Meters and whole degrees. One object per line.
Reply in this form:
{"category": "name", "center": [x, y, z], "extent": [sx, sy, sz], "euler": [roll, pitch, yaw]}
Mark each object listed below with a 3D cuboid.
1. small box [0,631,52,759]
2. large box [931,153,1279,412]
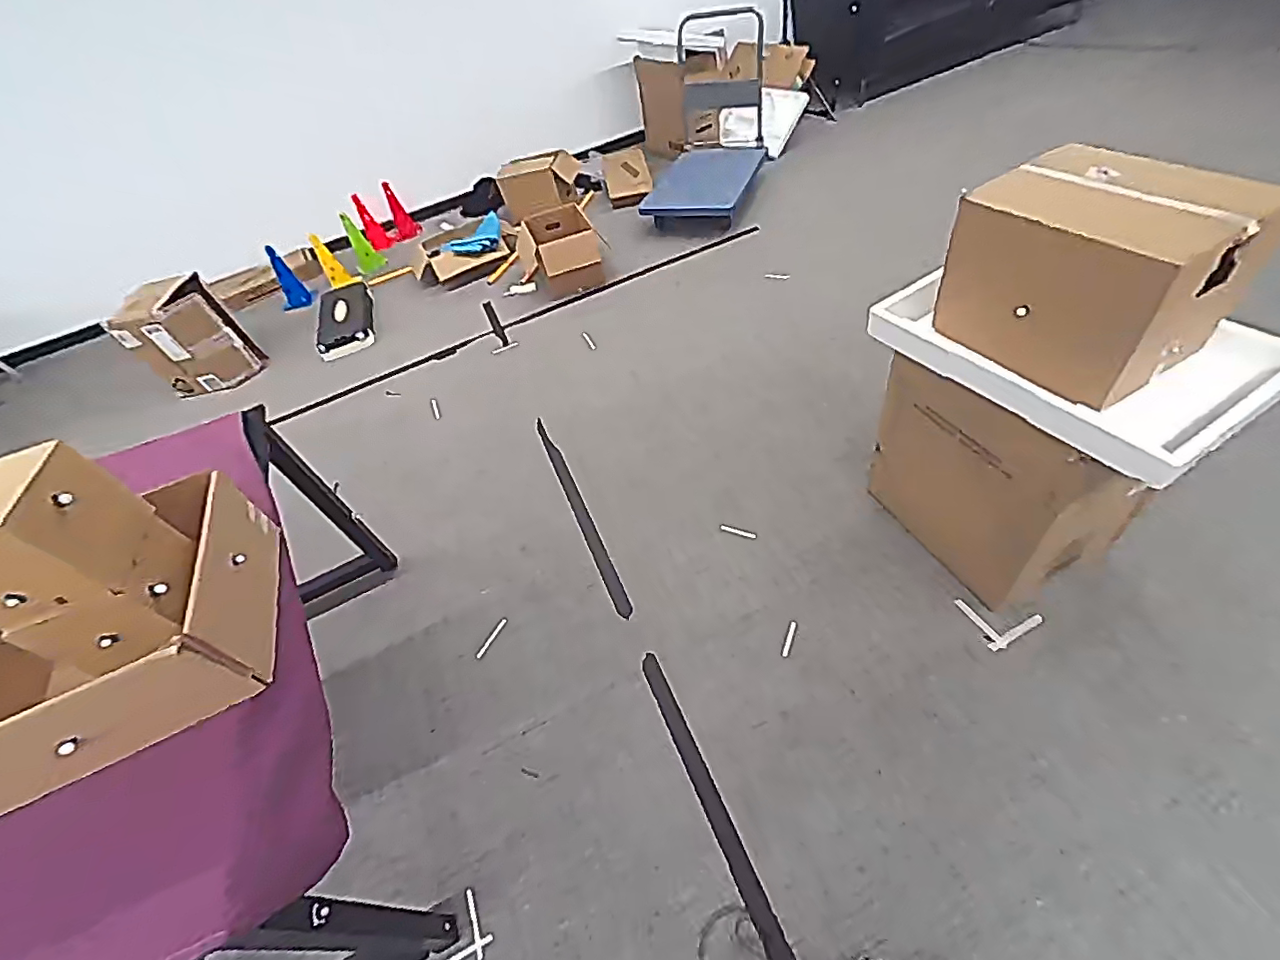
{"category": "small box", "center": [-1.065, 0.337, 0.815], "extent": [0.168, 0.176, 0.179], "euler": [-27, 48, -12]}
{"category": "large box", "center": [0.885, -0.405, 1.088], "extent": [0.320, 0.320, 0.408], "euler": [-28, 47, -12]}
